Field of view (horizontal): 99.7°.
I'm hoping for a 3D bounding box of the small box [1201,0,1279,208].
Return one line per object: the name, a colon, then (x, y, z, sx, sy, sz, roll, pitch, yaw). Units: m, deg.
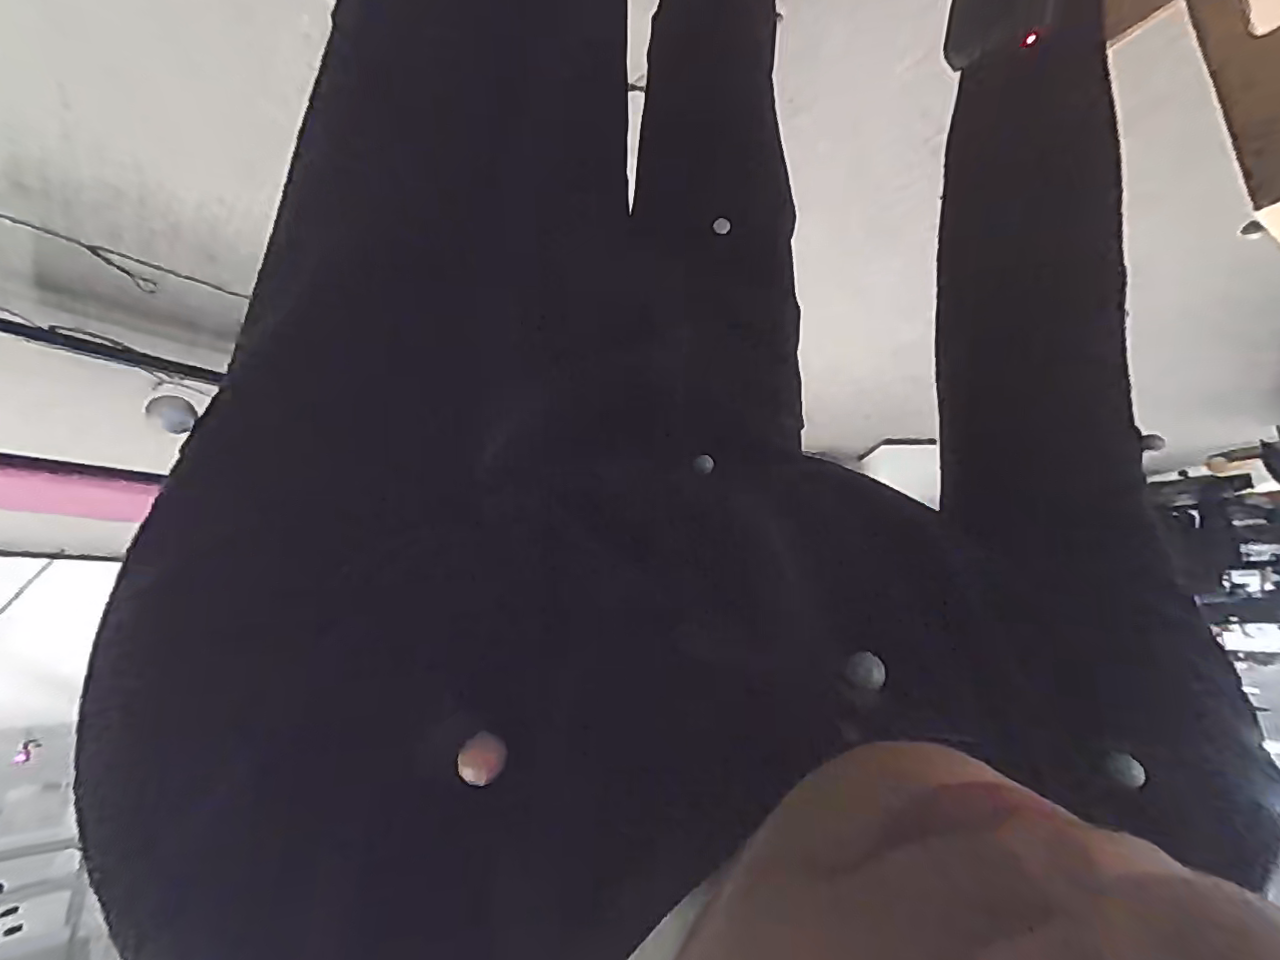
small box: (0.456, -0.227, 0.280, 0.168, 0.176, 0.179, 9, 163, -29)
